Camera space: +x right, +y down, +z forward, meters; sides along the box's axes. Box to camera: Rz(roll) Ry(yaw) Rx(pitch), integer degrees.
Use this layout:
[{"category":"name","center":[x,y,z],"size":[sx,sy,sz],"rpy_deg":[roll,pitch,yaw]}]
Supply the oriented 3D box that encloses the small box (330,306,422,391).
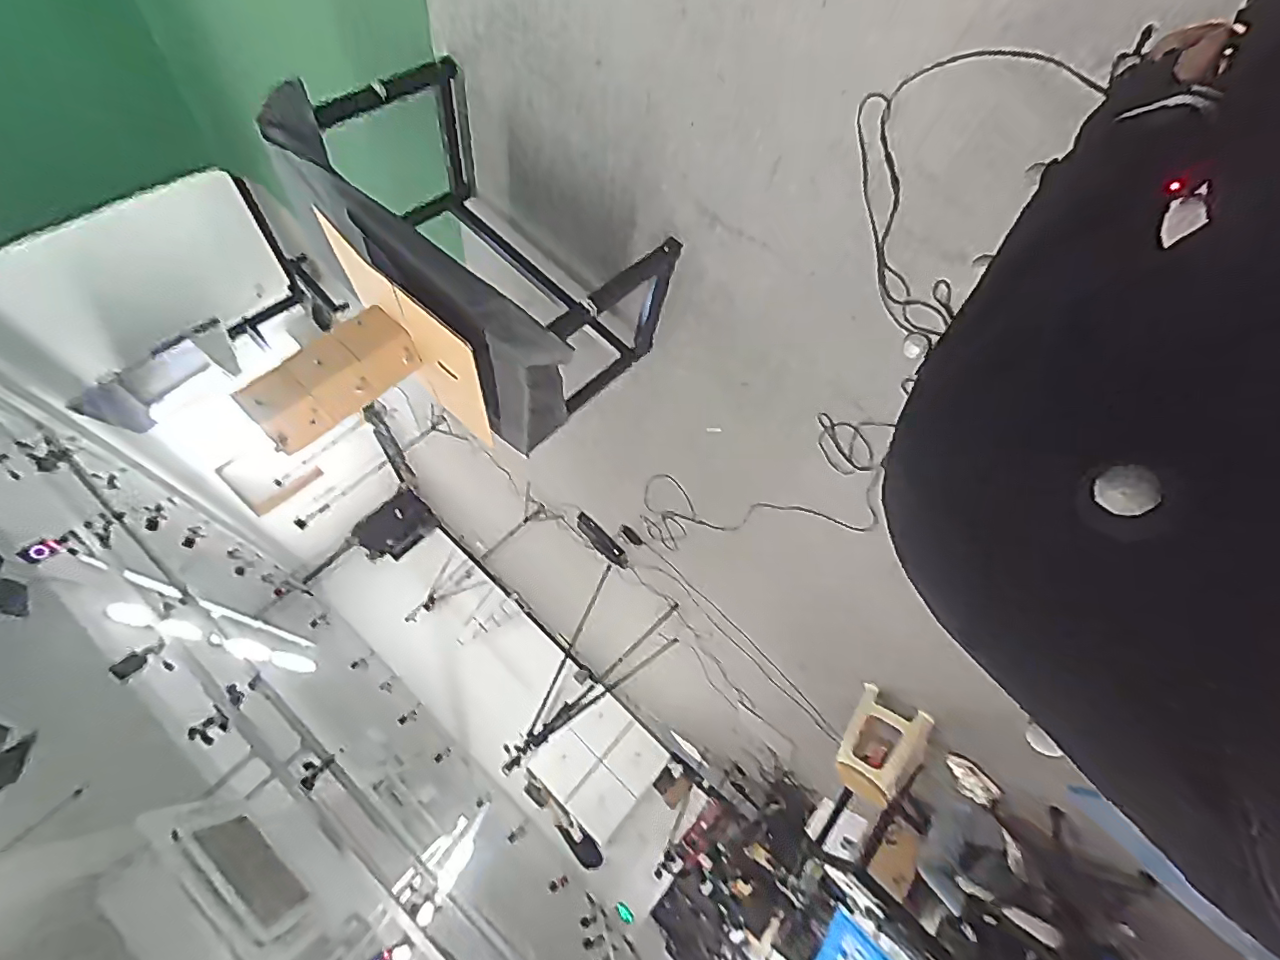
[{"category":"small box","center":[-0.831,-0.423,1.718],"size":[0.179,0.176,0.168],"rpy_deg":[39,158,17]}]

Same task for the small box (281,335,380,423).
[{"category":"small box","center":[-0.943,-0.317,1.661],"size":[0.179,0.176,0.168],"rpy_deg":[39,158,18]}]

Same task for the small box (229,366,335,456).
[{"category":"small box","center":[-1.055,-0.211,1.609],"size":[0.179,0.176,0.168],"rpy_deg":[38,158,19]}]
